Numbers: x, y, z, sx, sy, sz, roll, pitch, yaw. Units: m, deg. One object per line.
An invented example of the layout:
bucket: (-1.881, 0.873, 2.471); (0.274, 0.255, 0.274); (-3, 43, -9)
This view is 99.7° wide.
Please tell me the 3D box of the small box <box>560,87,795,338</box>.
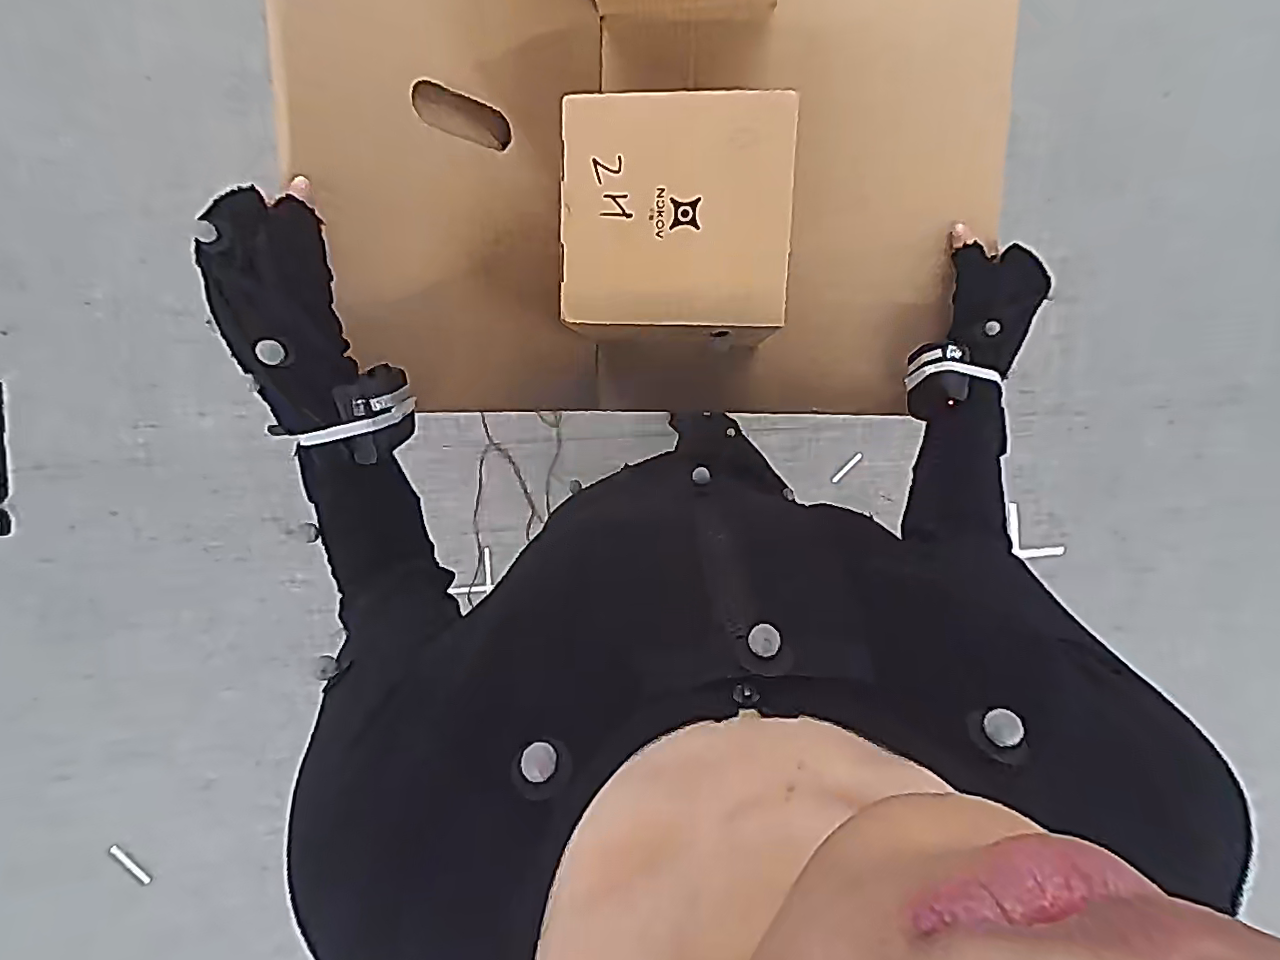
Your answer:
small box: (0.033, -0.225, 0.496); (0.179, 0.176, 0.168); (3, 99, 6)

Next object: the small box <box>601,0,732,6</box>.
small box: (0.034, -0.541, 0.448); (0.179, 0.176, 0.168); (0, 99, 5)
